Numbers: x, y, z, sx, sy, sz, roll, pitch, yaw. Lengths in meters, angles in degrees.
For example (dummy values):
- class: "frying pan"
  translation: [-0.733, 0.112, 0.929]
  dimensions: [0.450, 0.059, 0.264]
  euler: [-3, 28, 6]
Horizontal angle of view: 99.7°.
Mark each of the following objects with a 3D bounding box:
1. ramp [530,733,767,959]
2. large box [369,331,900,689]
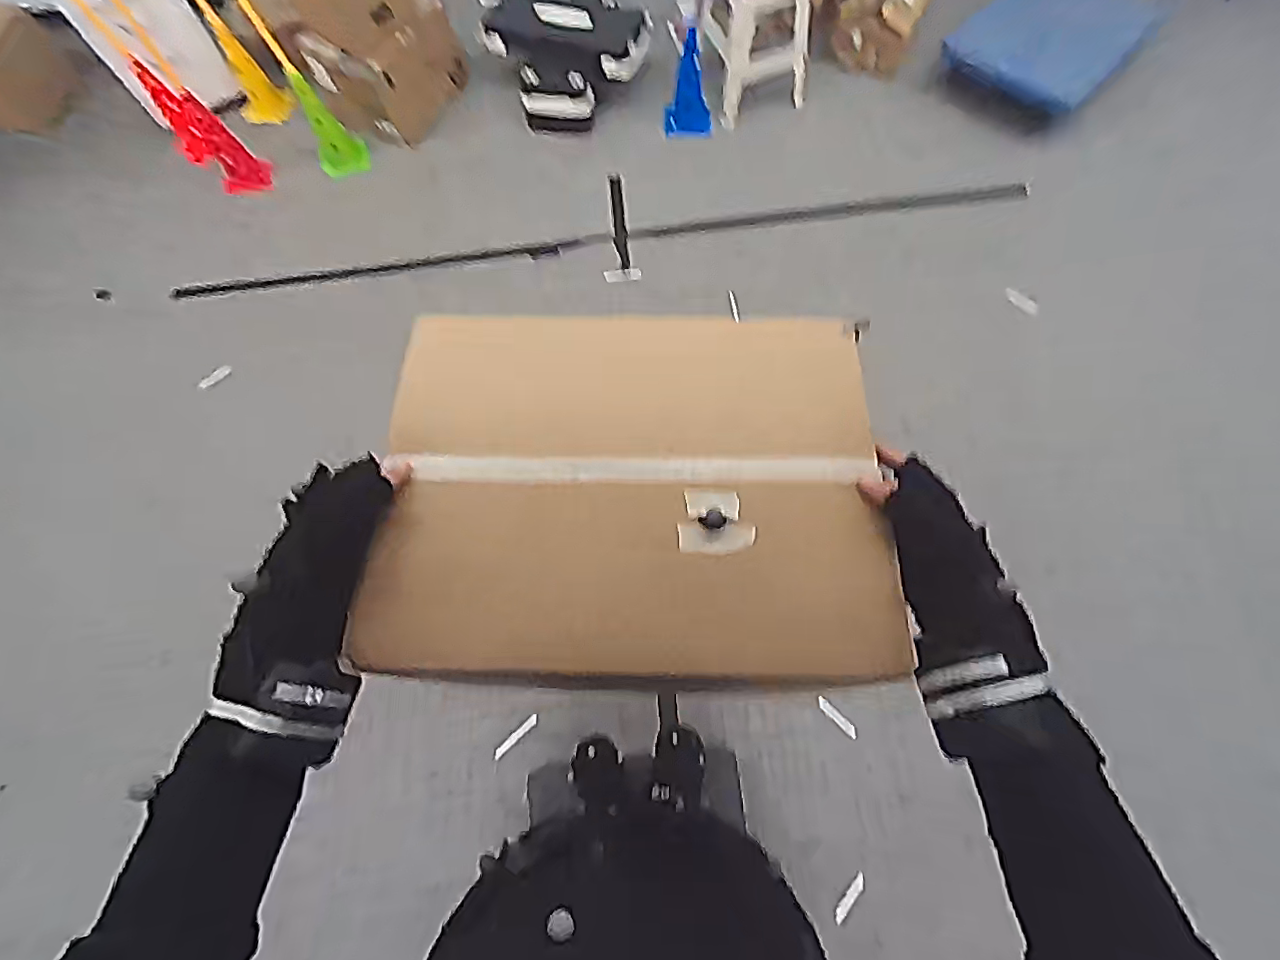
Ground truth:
- class: "ramp"
  translation: [0.043, 1.117, 1.178]
  dimensions: [0.509, 0.206, 0.991]
  euler: [-8, 68, -2]
- class: "large box"
  translation: [-0.004, 0.057, 0.593]
  dimensions: [0.408, 0.320, 0.320]
  euler: [1, 67, 1]
